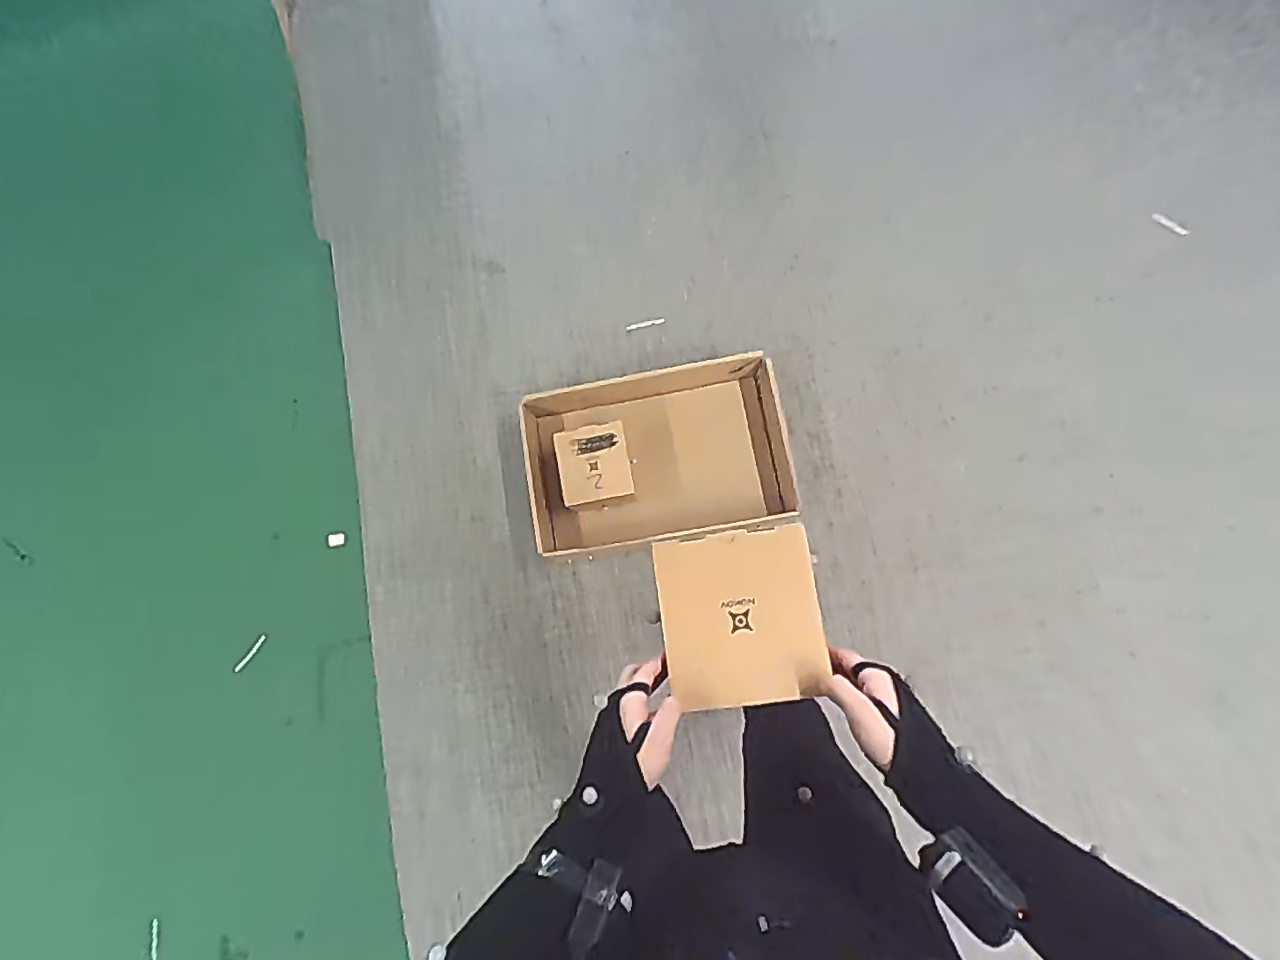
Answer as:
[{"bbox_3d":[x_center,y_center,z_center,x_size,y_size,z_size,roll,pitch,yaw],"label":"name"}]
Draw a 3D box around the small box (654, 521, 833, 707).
[{"bbox_3d":[0.112,0.152,0.640,0.168,0.176,0.179,-8,78,3],"label":"small box"}]
